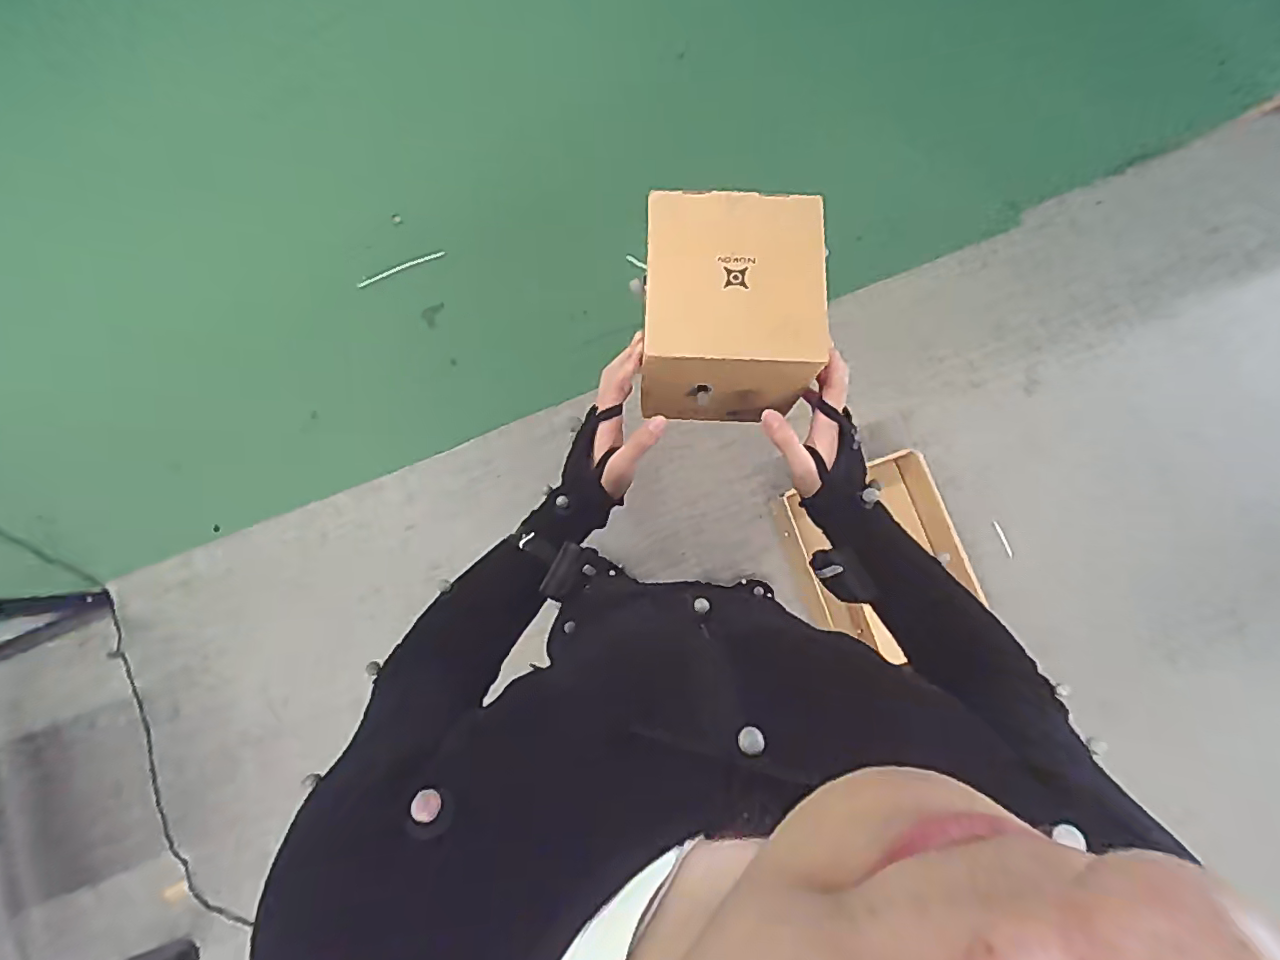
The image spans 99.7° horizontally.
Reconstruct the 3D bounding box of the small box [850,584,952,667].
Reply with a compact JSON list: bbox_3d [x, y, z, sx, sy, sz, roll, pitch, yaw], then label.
[{"bbox_3d":[0.685,0.384,1.450,0.179,0.176,0.168,-18,82,1],"label":"small box"}]

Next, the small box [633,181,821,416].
[{"bbox_3d":[0.079,-0.174,0.563,0.168,0.176,0.179,2,76,0],"label":"small box"}]
